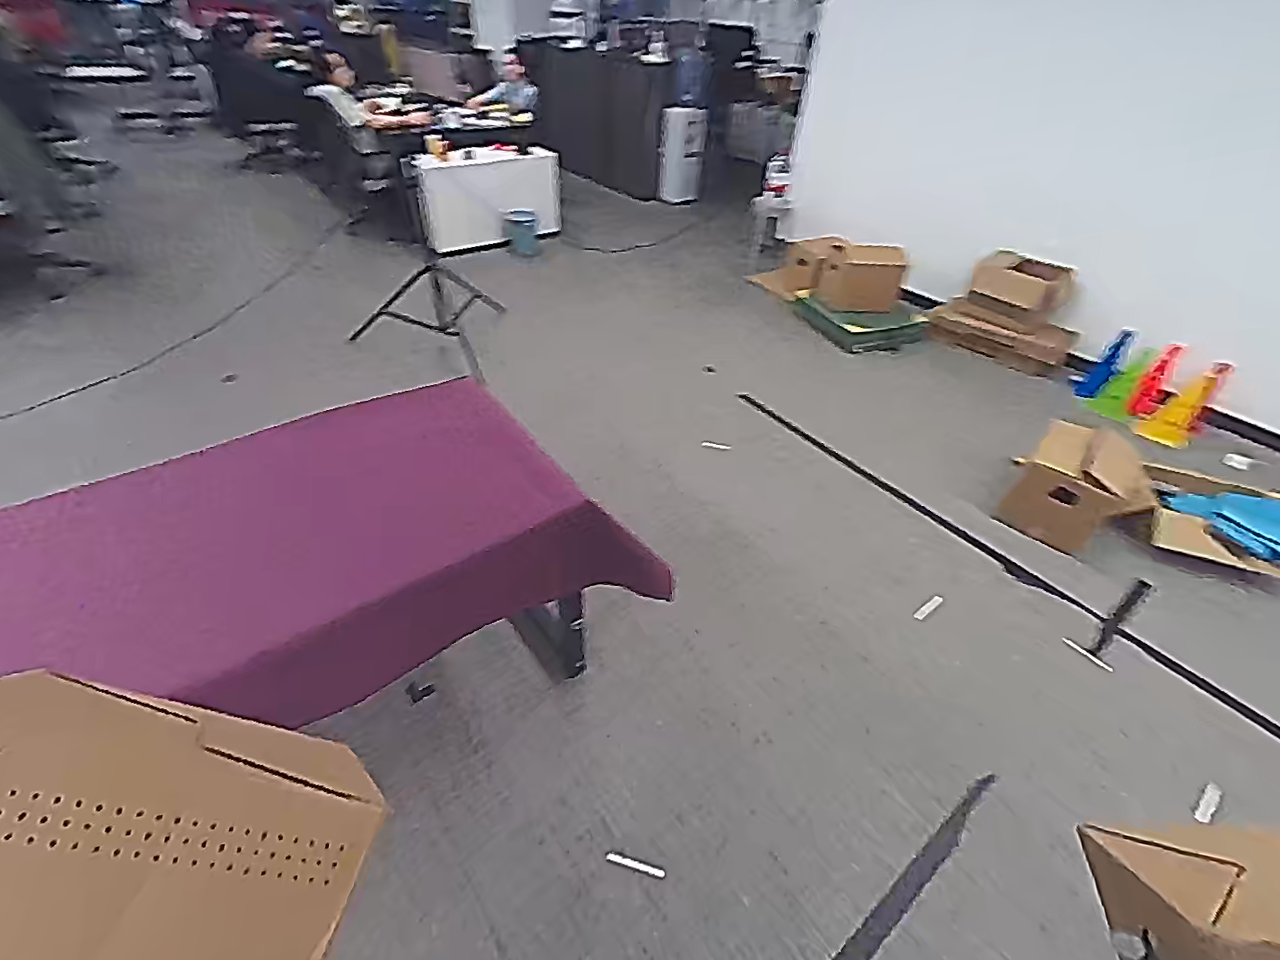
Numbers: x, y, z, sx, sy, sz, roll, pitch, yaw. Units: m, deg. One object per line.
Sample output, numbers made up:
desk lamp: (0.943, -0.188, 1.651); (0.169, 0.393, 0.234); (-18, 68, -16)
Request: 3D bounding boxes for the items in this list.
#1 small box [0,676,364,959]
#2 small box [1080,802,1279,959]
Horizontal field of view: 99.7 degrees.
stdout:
small box: (-0.257, 0.202, 0.248); (0.179, 0.168, 0.176); (30, 60, -25)
small box: (0.351, 0.266, 0.255); (0.168, 0.179, 0.176); (-14, 69, 19)
